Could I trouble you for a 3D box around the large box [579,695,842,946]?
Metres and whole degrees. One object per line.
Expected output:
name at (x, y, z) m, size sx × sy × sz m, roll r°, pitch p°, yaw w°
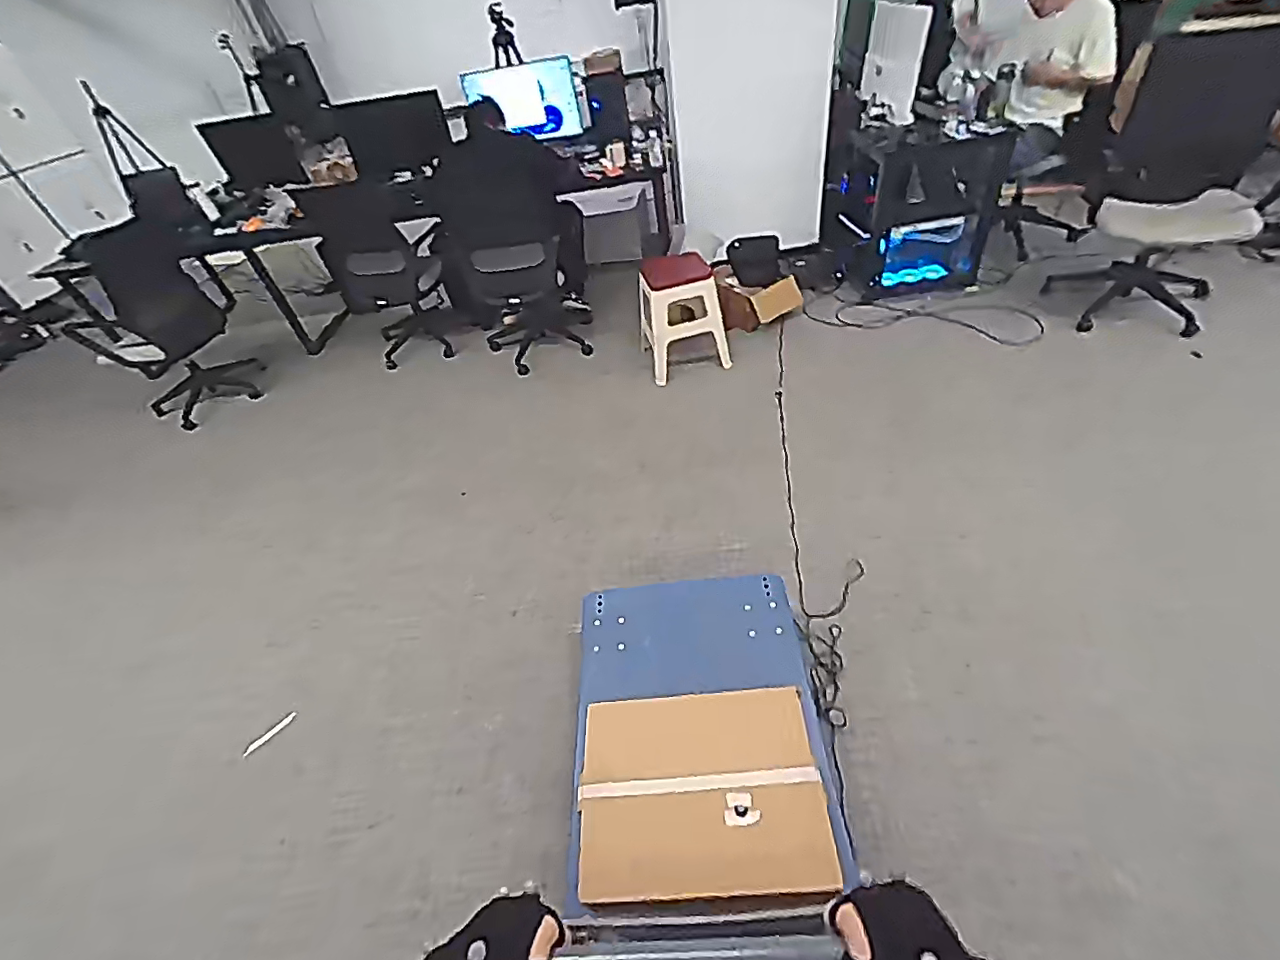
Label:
large box at (0.115, 0.638, 1.010) m, size 0.408 × 0.320 × 0.320 m, roll -7°, pitch 44°, yaw 4°
